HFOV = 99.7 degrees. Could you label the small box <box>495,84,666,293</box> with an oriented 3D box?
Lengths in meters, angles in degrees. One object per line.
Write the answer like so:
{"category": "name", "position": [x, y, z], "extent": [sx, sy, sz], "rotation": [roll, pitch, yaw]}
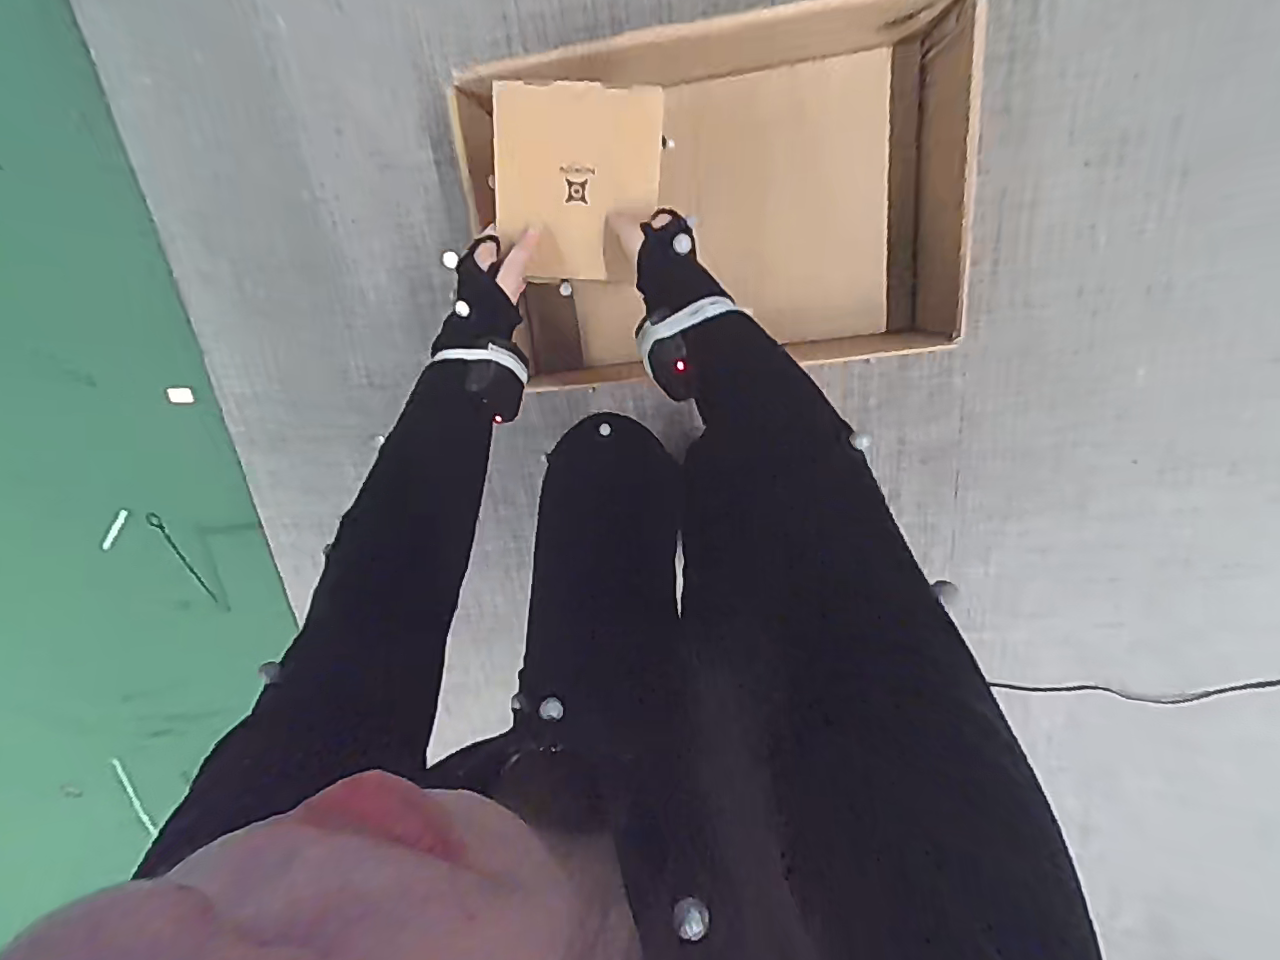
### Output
{"category": "small box", "position": [-0.058, -0.309, 0.610], "extent": [0.168, 0.176, 0.179], "rotation": [4, 107, 1]}
